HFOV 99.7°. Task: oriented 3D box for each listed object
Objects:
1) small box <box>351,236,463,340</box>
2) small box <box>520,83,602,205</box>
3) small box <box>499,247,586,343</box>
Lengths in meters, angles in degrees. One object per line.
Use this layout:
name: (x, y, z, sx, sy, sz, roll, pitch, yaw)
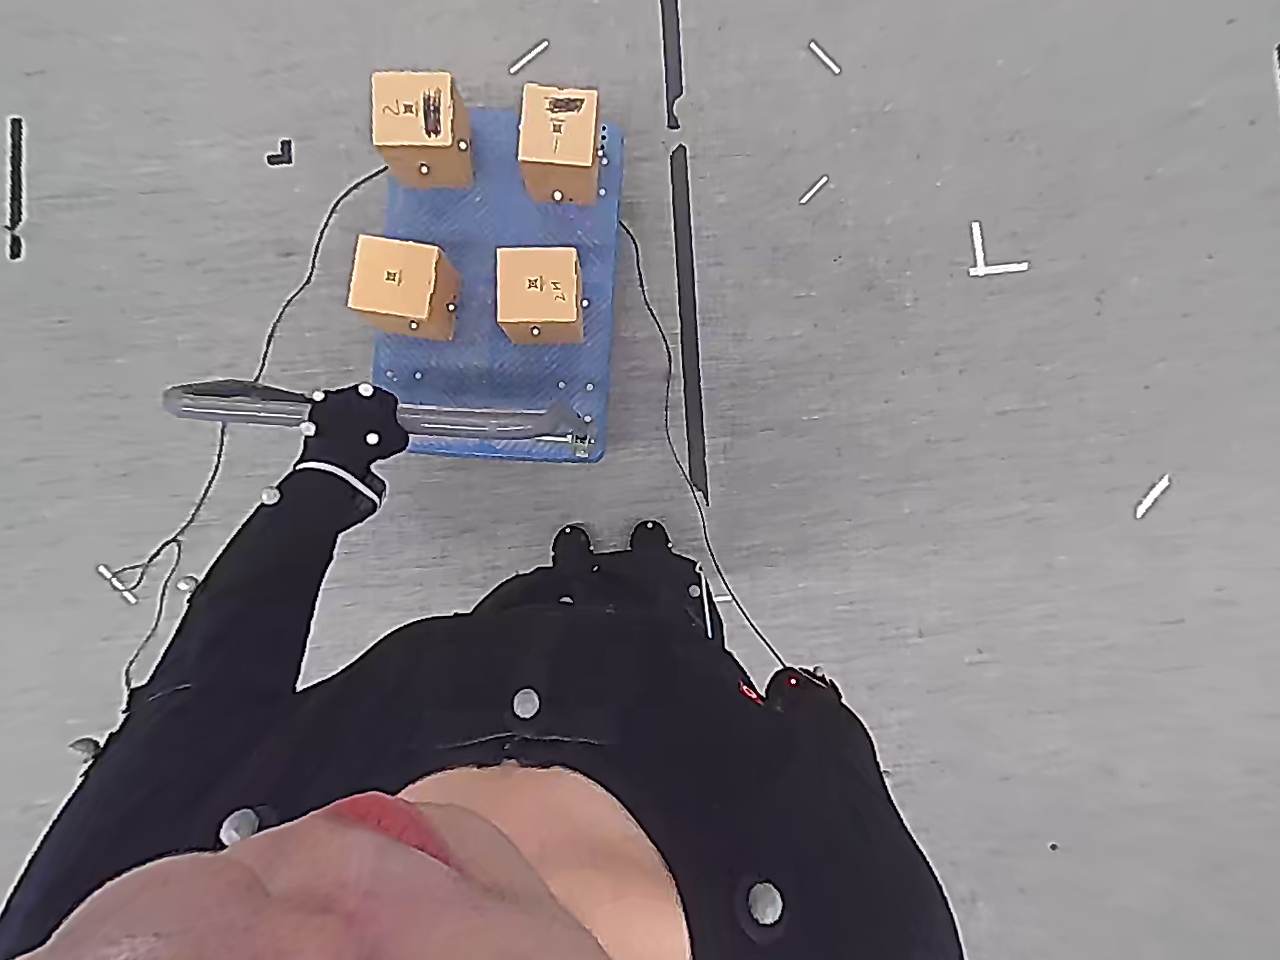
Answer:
small box: (-0.530, -0.434, 1.250, 0.179, 0.176, 0.168, 8, 87, -3)
small box: (-0.179, -0.781, 1.271, 0.168, 0.176, 0.179, 4, 89, -2)
small box: (-0.221, -0.423, 1.257, 0.179, 0.176, 0.168, -1, 88, -2)
